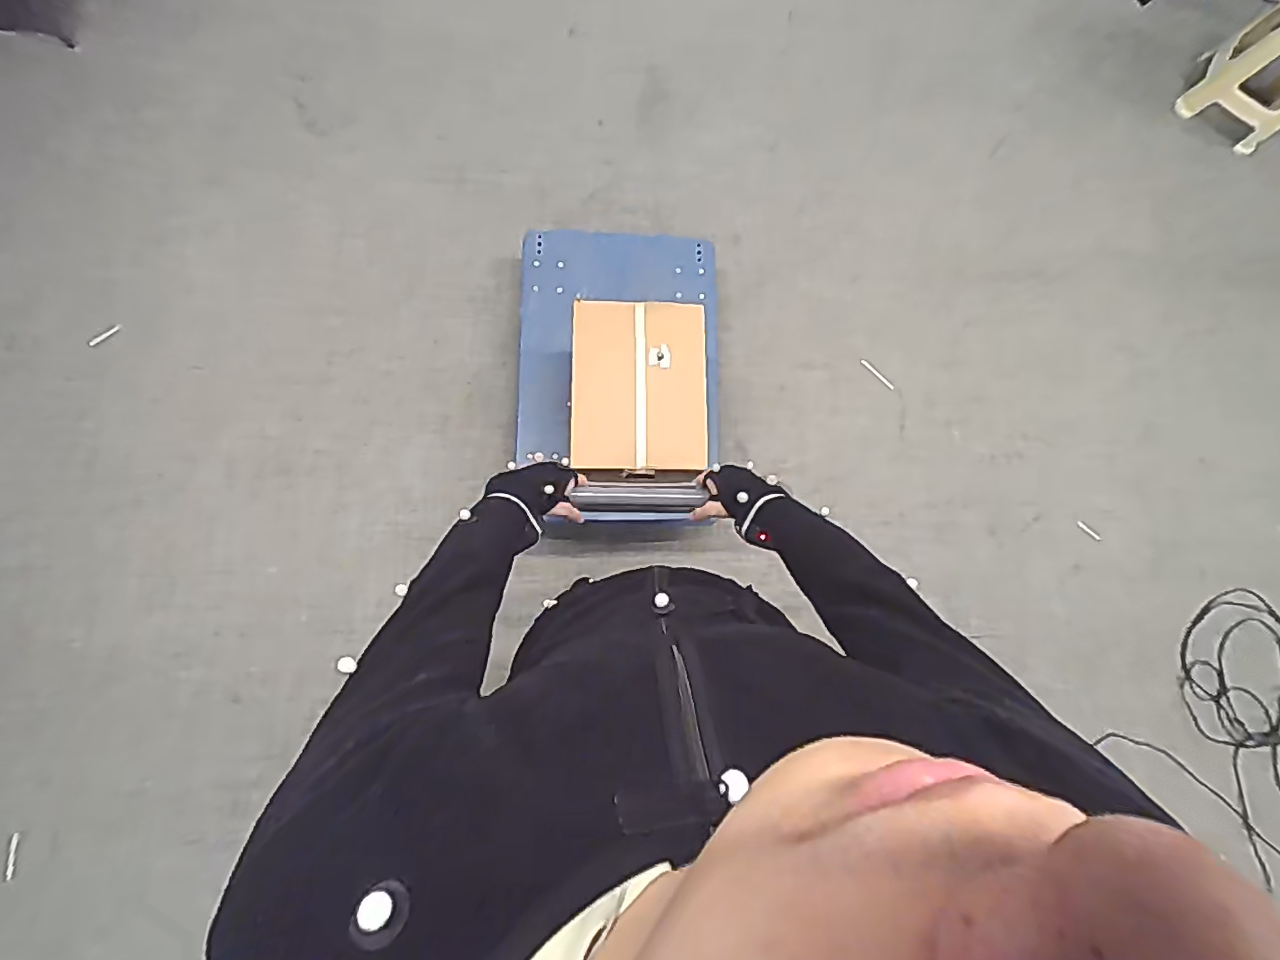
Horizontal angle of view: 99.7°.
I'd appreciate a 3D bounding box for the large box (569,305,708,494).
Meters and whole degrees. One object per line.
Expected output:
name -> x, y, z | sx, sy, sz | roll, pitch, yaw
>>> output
large box -> -0.017, -0.187, 1.389 | 0.320, 0.320, 0.408 | 0, 79, -6
